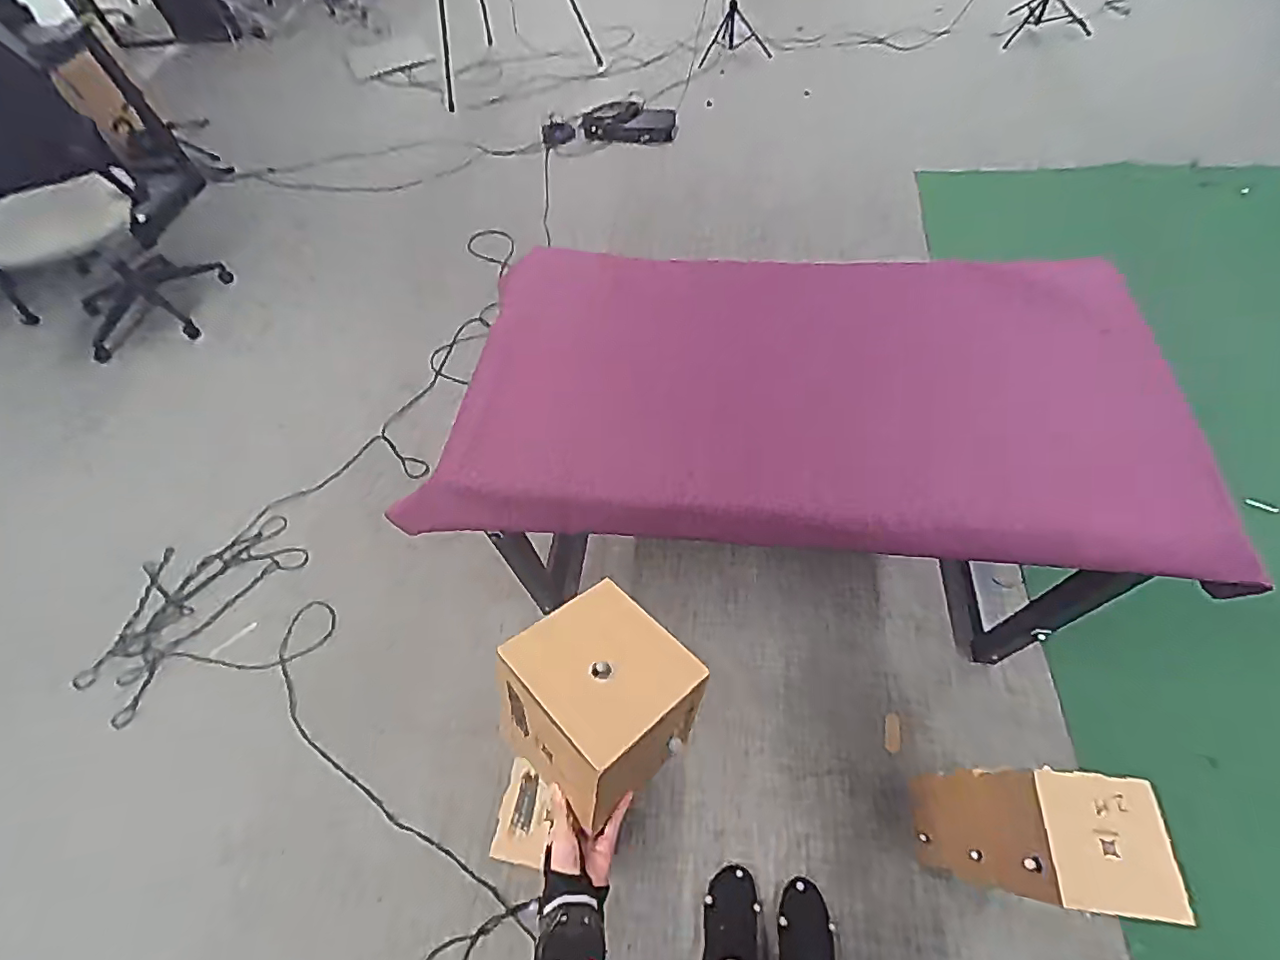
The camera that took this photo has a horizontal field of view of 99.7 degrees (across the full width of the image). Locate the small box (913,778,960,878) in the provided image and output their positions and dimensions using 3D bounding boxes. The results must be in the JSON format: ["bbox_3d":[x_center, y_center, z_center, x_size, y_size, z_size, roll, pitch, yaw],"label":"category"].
[{"bbox_3d":[0.684,0.731,1.121,0.179,0.176,0.168,5,58,8],"label":"small box"}]

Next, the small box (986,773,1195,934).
[{"bbox_3d":[0.675,0.566,0.838,0.168,0.176,0.179,3,59,7],"label":"small box"}]

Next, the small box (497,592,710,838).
[{"bbox_3d":[-0.047,0.258,0.635,0.179,0.168,0.176,35,45,30],"label":"small box"}]

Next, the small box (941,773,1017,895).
[{"bbox_3d":[0.675,0.645,0.984,0.168,0.176,0.179,2,59,7],"label":"small box"}]

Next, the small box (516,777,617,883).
[{"bbox_3d":[-0.149,0.755,1.189,0.168,0.176,0.179,6,59,10],"label":"small box"}]
